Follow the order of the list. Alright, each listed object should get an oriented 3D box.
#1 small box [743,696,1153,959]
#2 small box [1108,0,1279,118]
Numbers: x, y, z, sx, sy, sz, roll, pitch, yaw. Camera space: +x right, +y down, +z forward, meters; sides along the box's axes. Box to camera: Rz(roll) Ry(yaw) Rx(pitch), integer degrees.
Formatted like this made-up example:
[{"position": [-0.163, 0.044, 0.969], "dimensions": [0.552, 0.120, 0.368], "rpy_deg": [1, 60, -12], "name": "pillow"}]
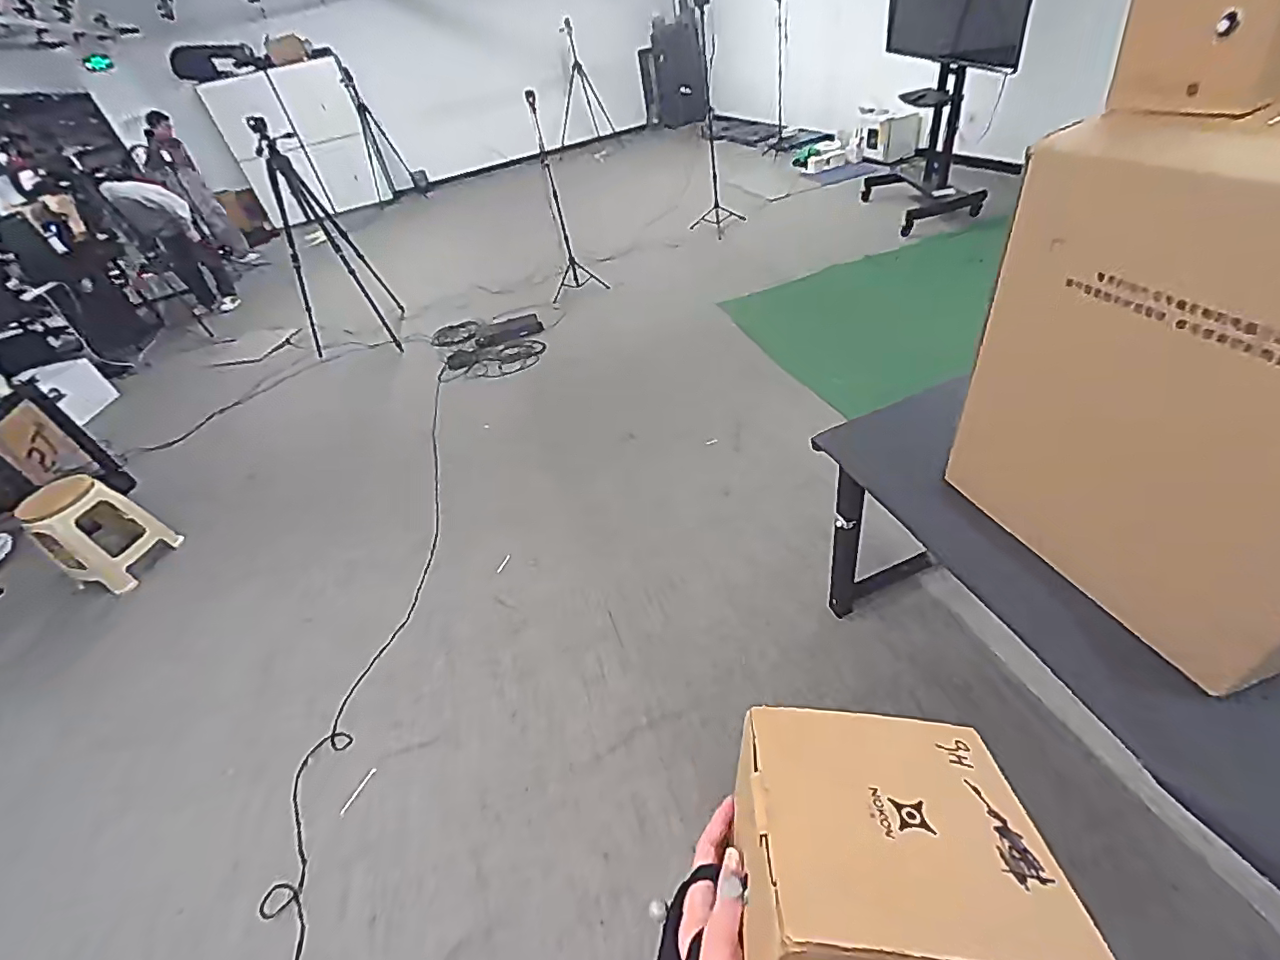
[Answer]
[{"position": [0.166, 0.276, 0.364], "dimensions": [0.179, 0.176, 0.168], "rpy_deg": [4, 20, 3], "name": "small box"}, {"position": [0.722, -0.559, 0.653], "dimensions": [0.179, 0.176, 0.168], "rpy_deg": [-23, 41, -7], "name": "small box"}]
